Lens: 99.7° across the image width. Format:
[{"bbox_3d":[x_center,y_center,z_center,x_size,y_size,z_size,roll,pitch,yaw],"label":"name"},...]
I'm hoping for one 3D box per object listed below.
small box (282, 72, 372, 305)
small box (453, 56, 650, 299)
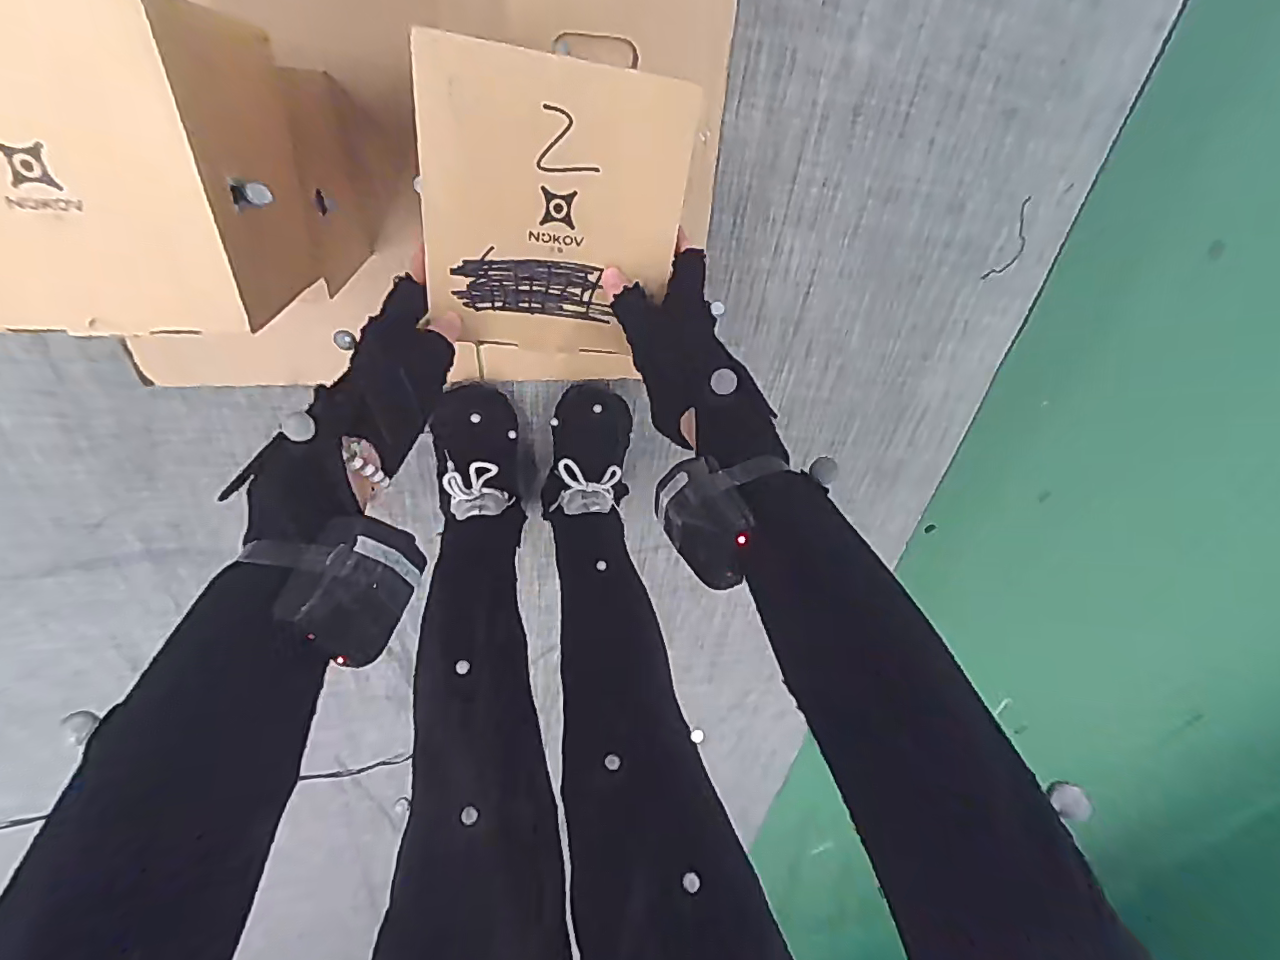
[{"bbox_3d":[-0.370,-0.275,0.505,0.168,0.176,0.179,-5,125,-10],"label":"small box"},{"bbox_3d":[-0.096,-0.303,0.550,0.168,0.176,0.179,1,125,-13],"label":"small box"}]
